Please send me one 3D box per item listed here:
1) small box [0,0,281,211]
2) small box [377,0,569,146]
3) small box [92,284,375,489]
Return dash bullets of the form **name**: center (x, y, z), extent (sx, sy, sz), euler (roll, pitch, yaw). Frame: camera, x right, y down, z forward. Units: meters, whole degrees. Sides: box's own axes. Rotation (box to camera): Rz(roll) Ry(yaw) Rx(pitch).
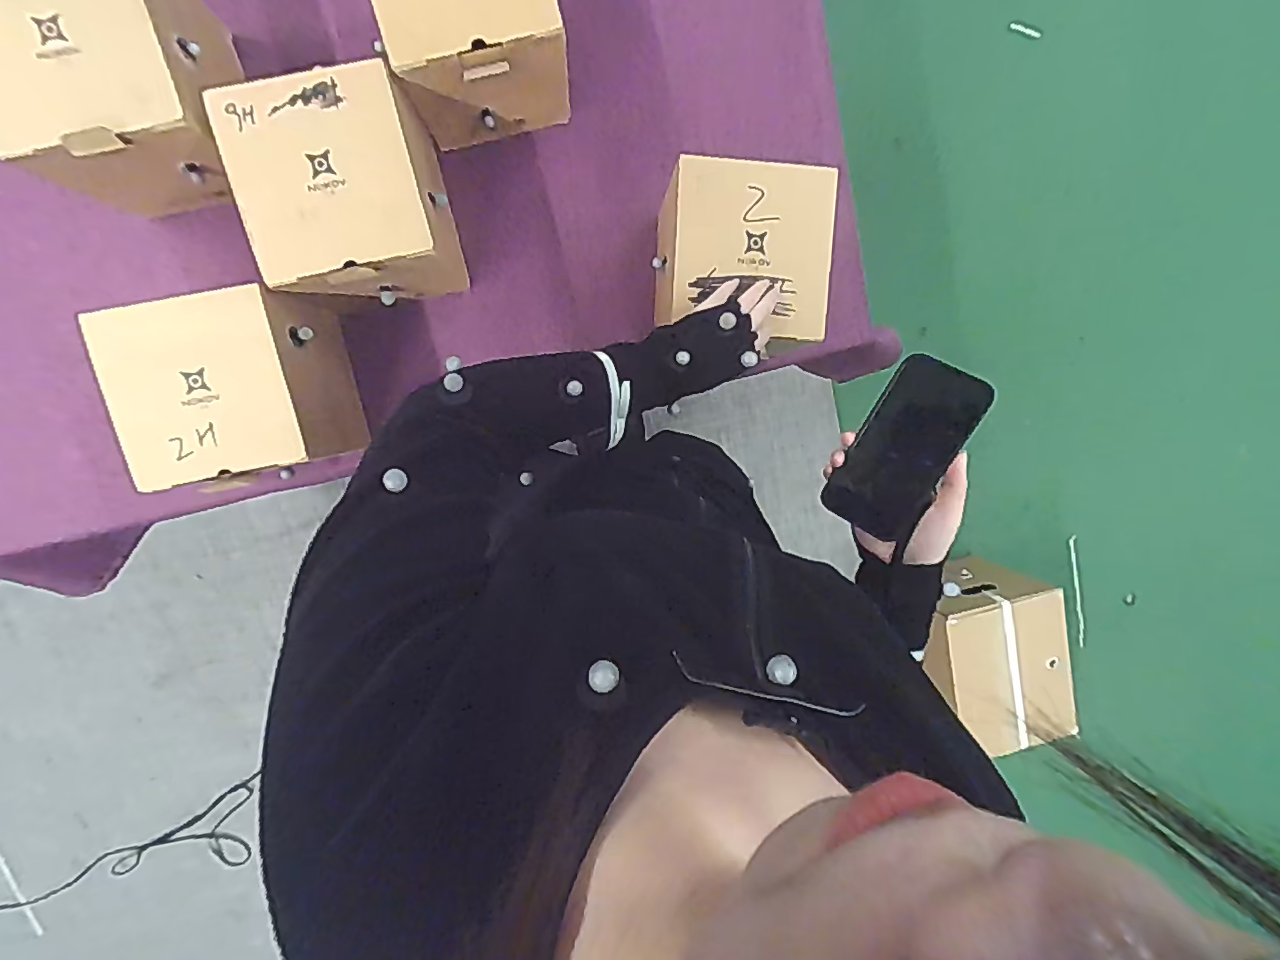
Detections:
- **small box**: center (-0.512, -0.396, 0.553), extent (0.168, 0.176, 0.179), euler (-14, 100, -4)
- **small box**: center (-0.177, -0.495, 0.569), extent (0.168, 0.176, 0.179), euler (-16, 101, -3)
- **small box**: center (-0.427, -0.099, 0.603), extent (0.168, 0.176, 0.179), euler (-12, 99, -3)
